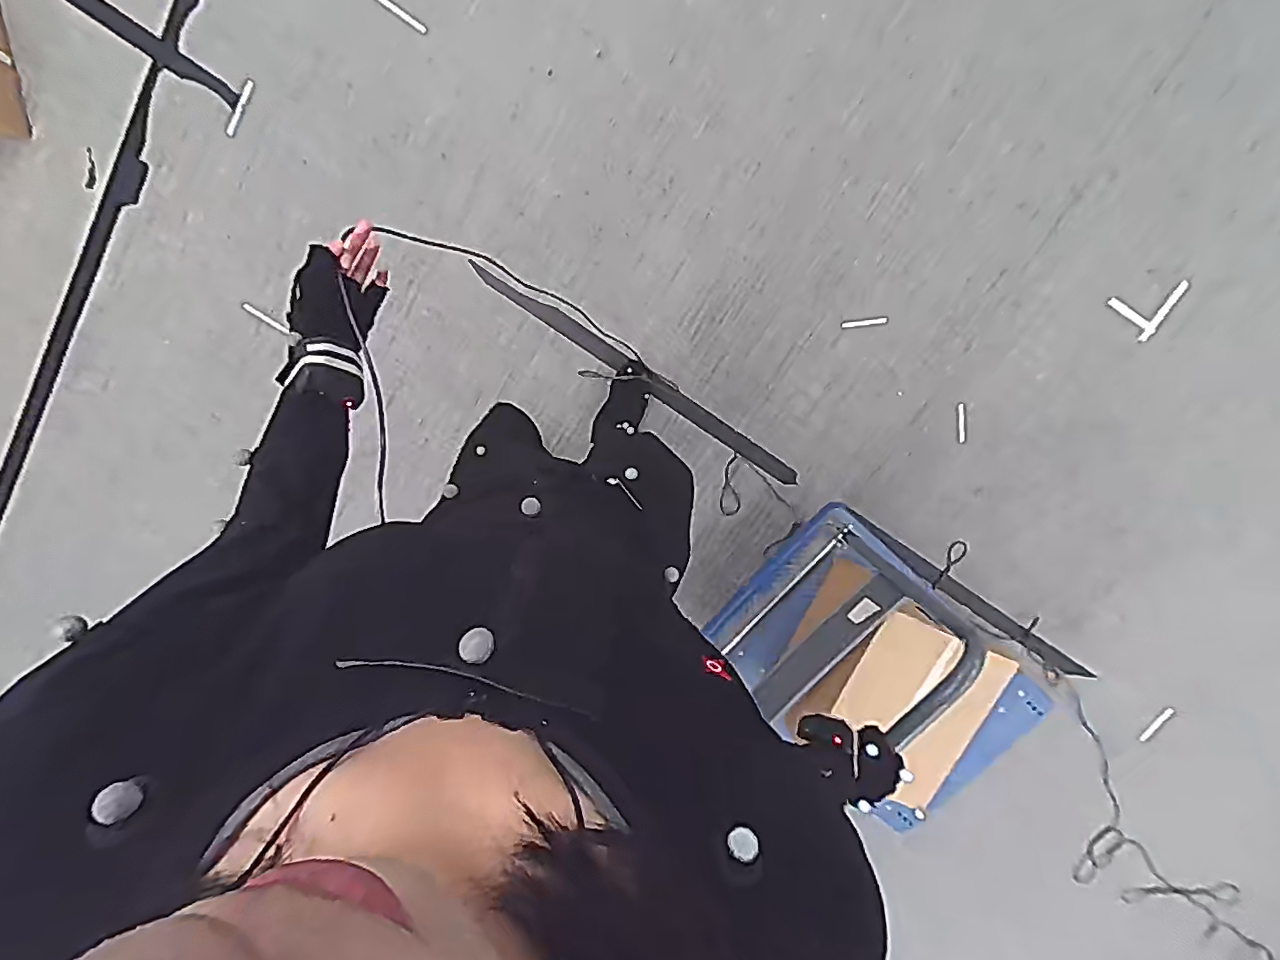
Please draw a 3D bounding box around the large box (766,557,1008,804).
[{"bbox_3d":[0.556,0.457,1.299,0.320,0.320,0.408,24,102,-5],"label":"large box"}]
